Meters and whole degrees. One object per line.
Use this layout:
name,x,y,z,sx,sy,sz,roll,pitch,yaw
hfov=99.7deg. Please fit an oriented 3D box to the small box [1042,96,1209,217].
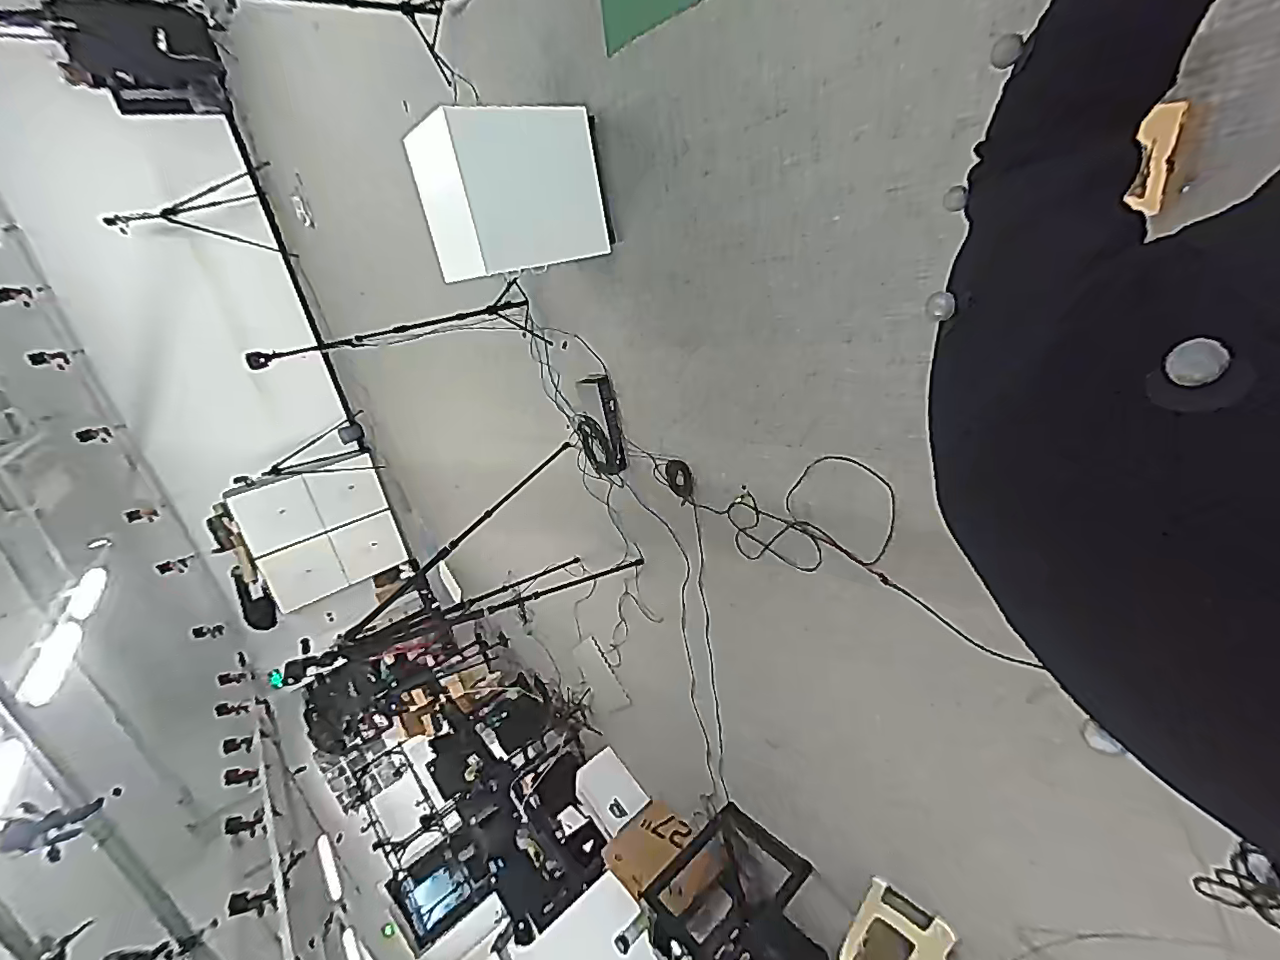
small box,0.875,-0.580,0.977,0.179,0.176,0.168,24,129,47
